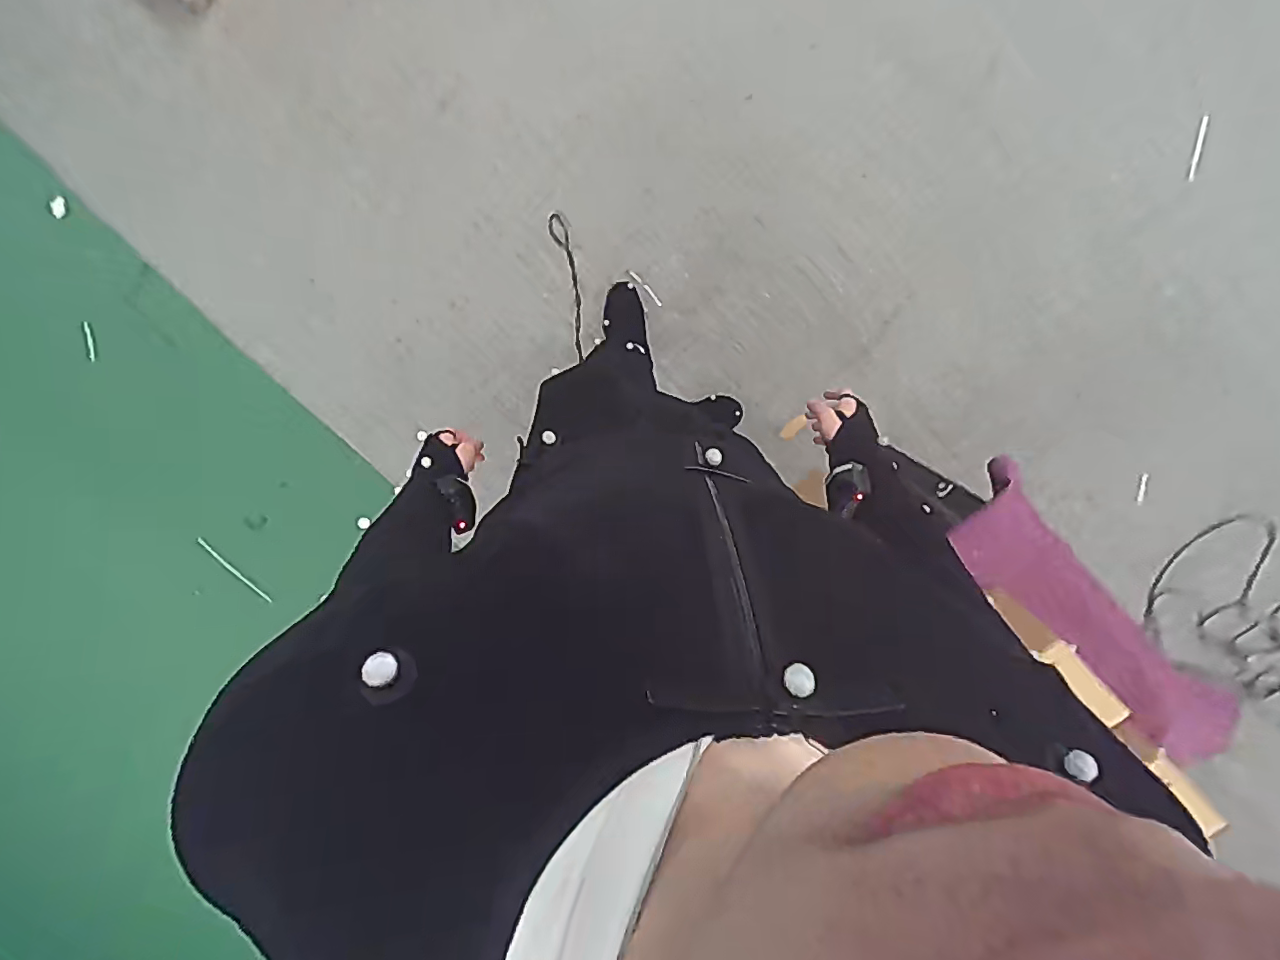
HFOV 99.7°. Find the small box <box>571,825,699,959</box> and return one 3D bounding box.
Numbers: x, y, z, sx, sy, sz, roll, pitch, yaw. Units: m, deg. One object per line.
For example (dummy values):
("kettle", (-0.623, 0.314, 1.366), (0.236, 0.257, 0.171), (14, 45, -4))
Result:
("small box", (-0.007, 0.818, 1.042), (0.168, 0.176, 0.179), (-40, 102, 11))

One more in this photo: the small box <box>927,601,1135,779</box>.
("small box", (0.604, 0.318, 0.862), (0.179, 0.176, 0.168), (44, 104, -10))
